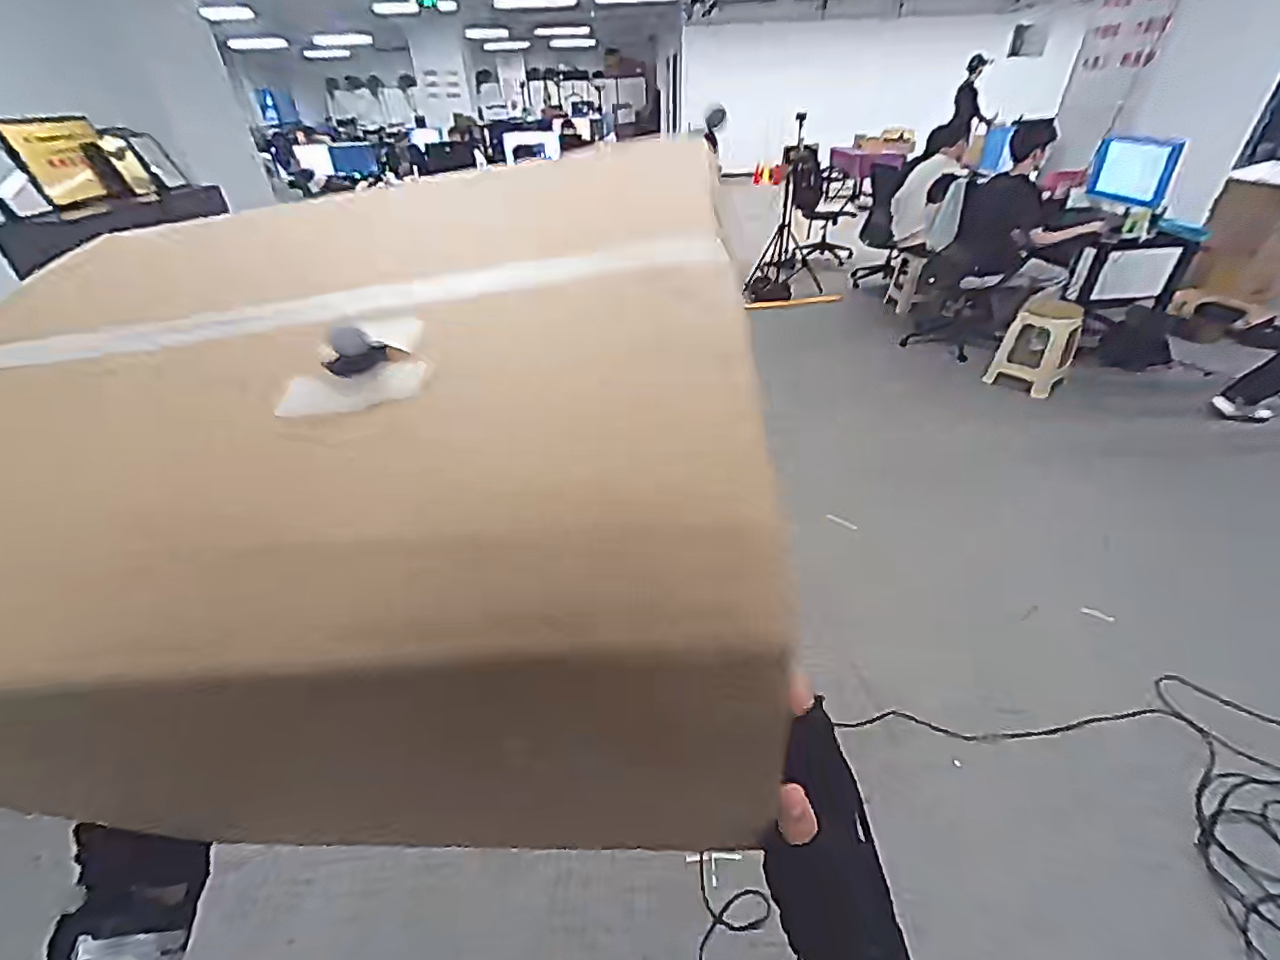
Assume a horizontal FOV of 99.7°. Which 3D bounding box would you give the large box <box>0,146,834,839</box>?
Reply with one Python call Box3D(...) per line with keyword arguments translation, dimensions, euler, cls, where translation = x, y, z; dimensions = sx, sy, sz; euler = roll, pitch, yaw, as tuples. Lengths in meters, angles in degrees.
Box3D(translation=(-0.125, 0.030, 0.359), dimensions=(0.408, 0.320, 0.320), euler=(-5, 50, 7), cls="large box")
